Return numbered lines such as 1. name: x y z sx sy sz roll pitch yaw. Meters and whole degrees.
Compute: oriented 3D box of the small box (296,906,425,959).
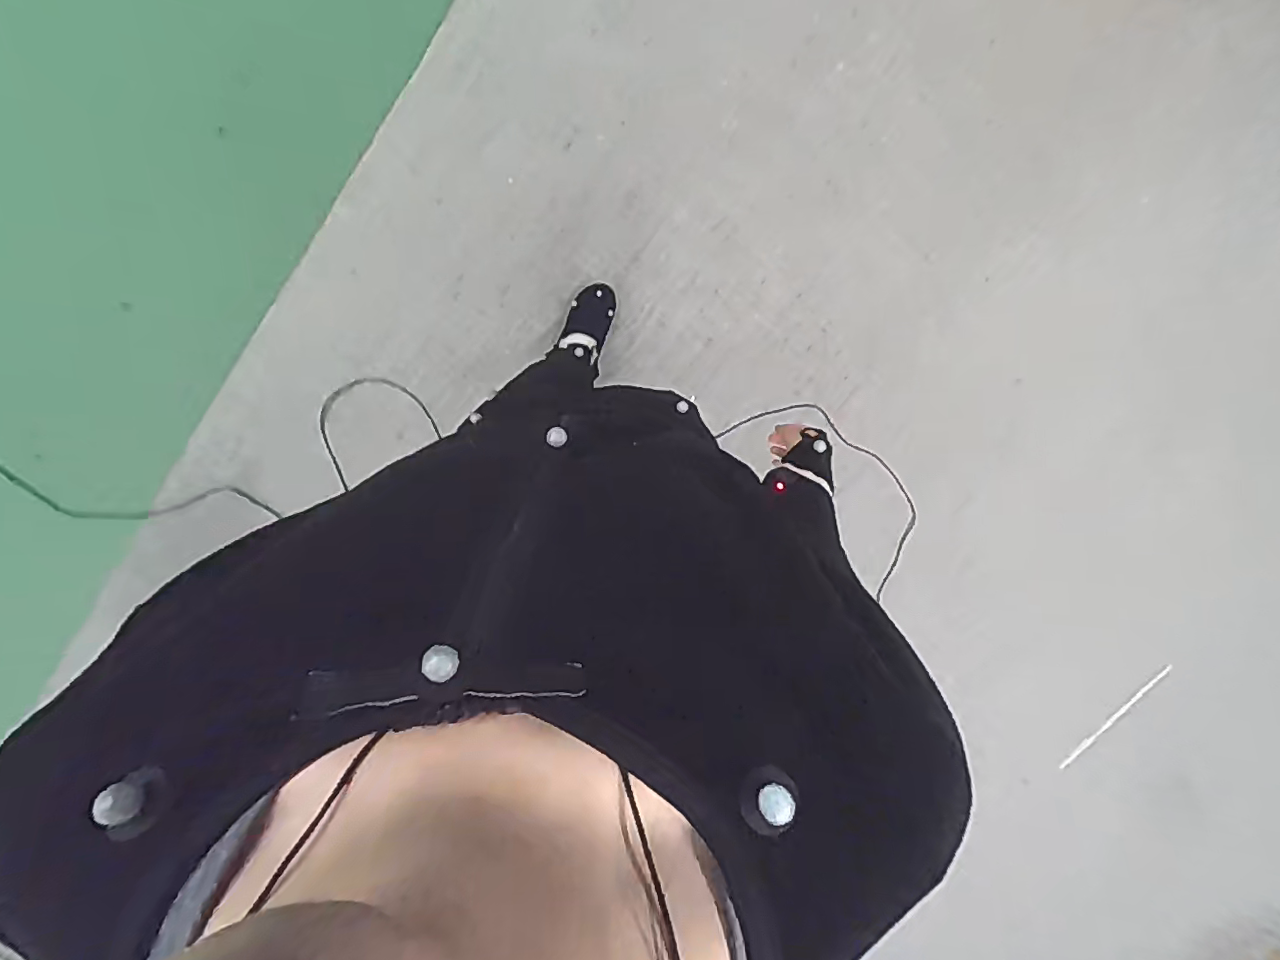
1. small box: -0.495 0.860 0.893 0.179 0.176 0.168 38 101 -11
